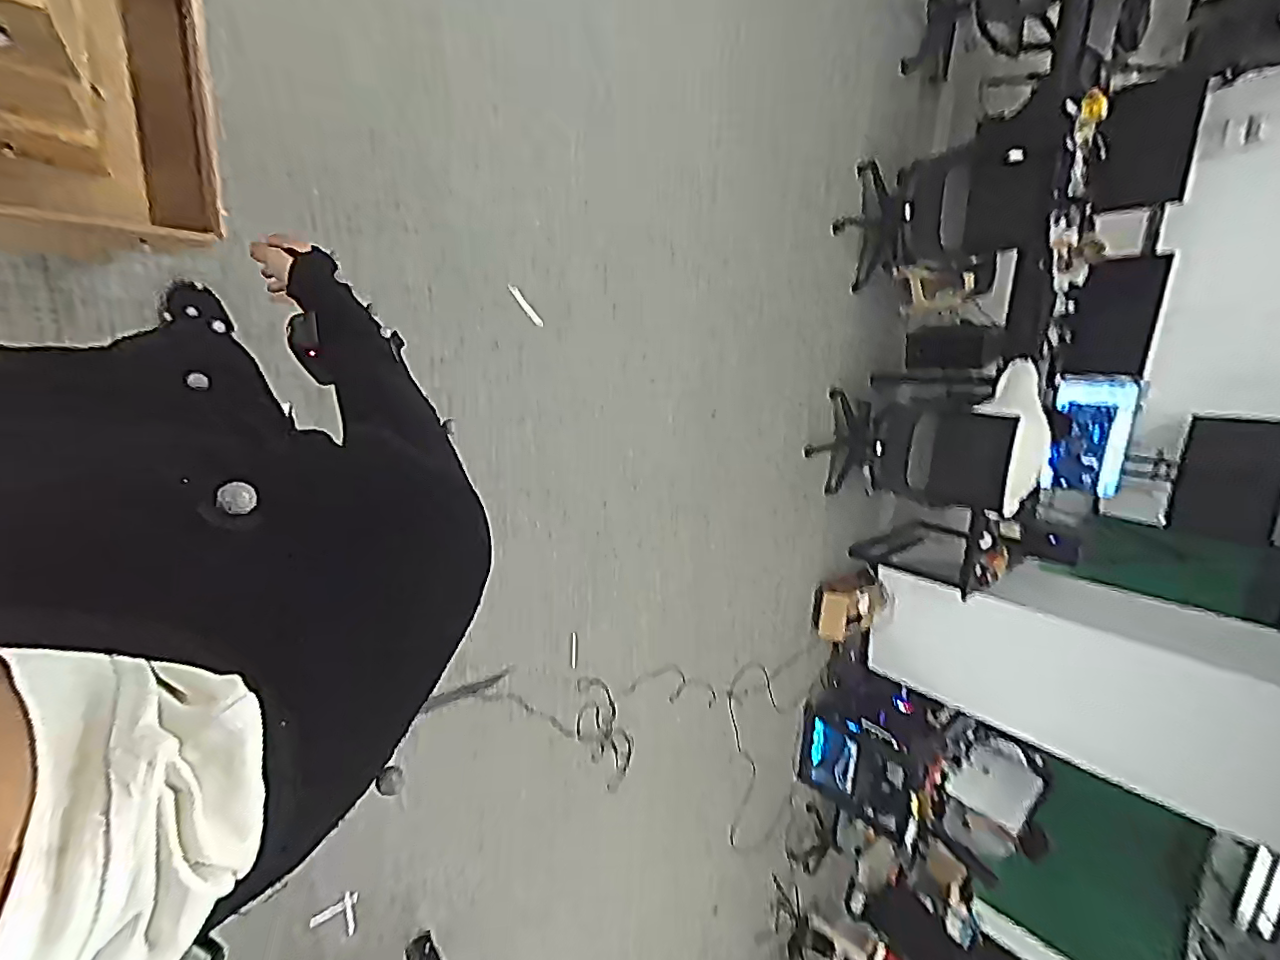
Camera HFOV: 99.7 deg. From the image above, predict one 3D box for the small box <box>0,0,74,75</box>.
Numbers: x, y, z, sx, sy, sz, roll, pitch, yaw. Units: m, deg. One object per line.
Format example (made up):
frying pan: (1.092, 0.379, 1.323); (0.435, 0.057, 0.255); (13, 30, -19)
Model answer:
small box: (-0.610, -0.478, 0.448); (0.179, 0.176, 0.168); (-5, 104, -37)

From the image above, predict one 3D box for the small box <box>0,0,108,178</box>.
small box: (-0.817, -0.522, 0.698); (0.168, 0.176, 0.179); (-4, 104, -38)
